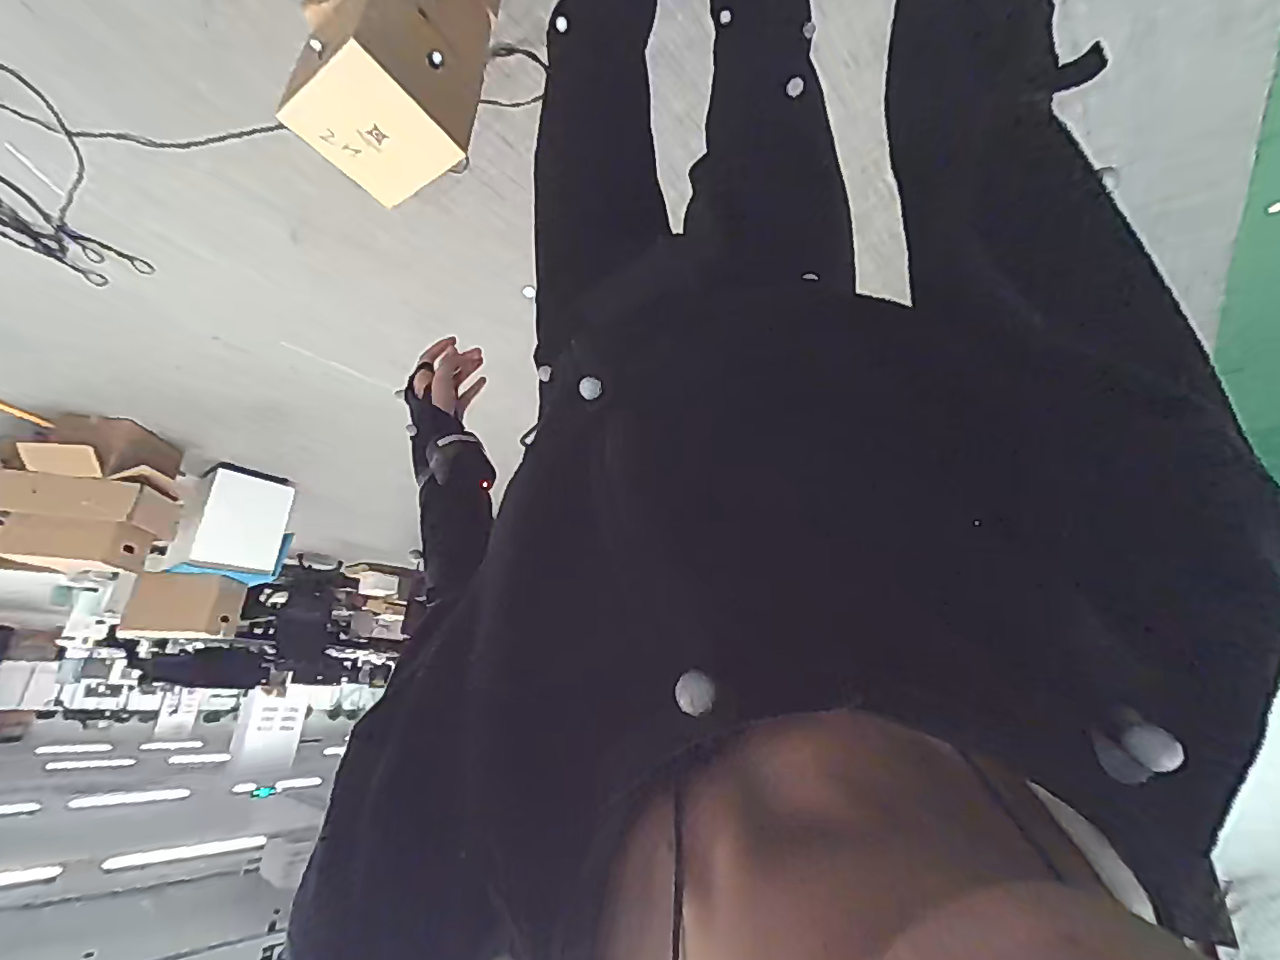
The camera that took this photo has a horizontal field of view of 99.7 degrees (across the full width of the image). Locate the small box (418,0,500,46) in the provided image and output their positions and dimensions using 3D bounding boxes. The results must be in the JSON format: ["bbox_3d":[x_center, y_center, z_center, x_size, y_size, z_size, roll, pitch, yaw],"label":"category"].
[{"bbox_3d":[-0.335,-0.826,0.850,0.168,0.176,0.179,-8,157,23],"label":"small box"}]

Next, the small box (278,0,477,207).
[{"bbox_3d":[-0.342,-0.522,0.731,0.179,0.176,0.168,-10,154,30],"label":"small box"}]
